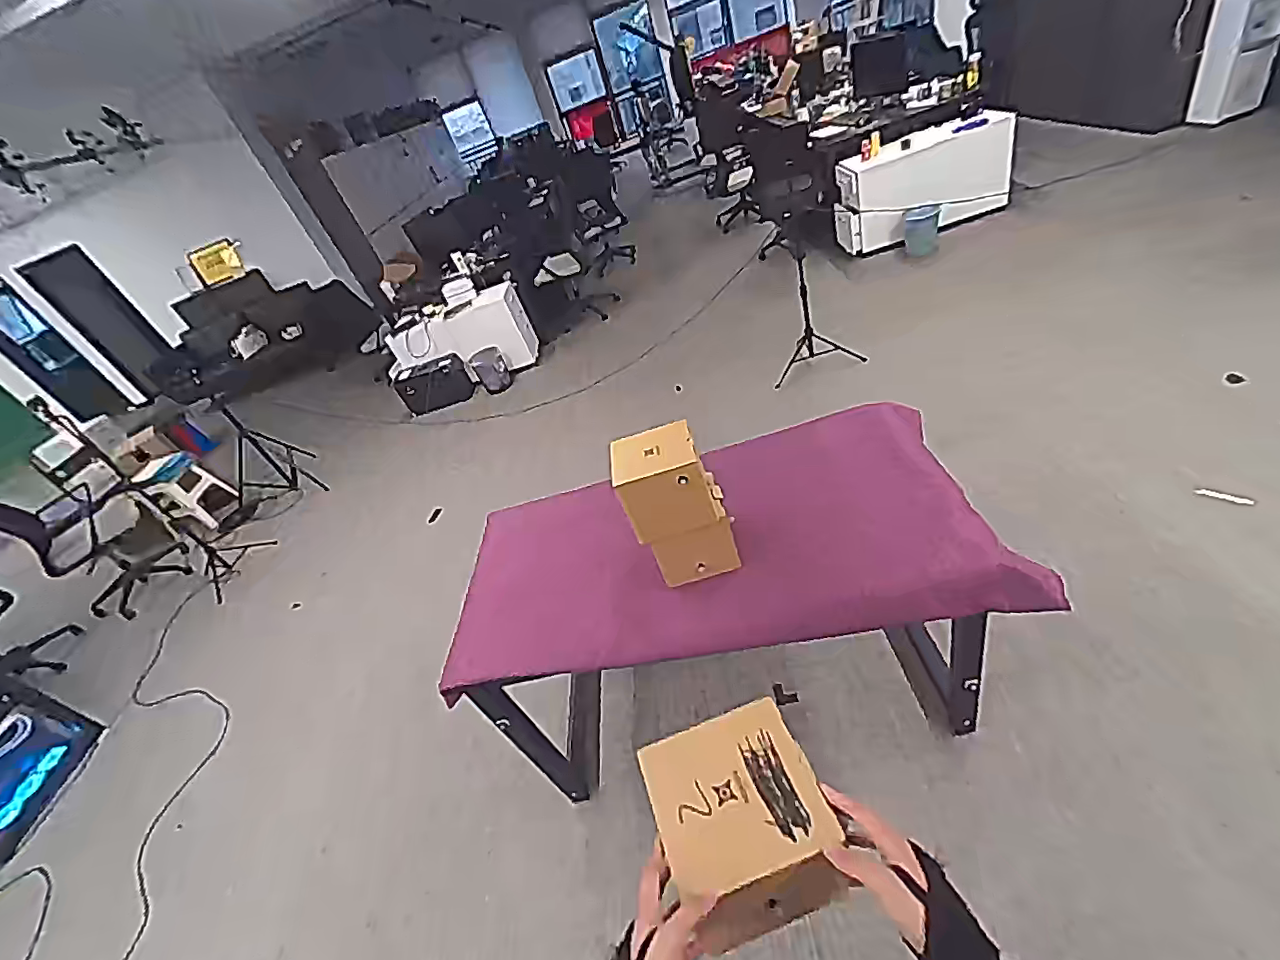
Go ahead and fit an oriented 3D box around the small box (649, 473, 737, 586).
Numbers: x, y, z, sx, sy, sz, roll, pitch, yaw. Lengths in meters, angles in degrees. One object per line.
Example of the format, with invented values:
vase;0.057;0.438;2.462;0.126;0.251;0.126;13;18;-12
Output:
small box;0.118;0.116;1.244;0.179;0.176;0.168;-17;35;7

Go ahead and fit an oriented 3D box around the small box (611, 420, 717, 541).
small box;0.050;0.005;1.143;0.179;0.176;0.168;-17;36;7
